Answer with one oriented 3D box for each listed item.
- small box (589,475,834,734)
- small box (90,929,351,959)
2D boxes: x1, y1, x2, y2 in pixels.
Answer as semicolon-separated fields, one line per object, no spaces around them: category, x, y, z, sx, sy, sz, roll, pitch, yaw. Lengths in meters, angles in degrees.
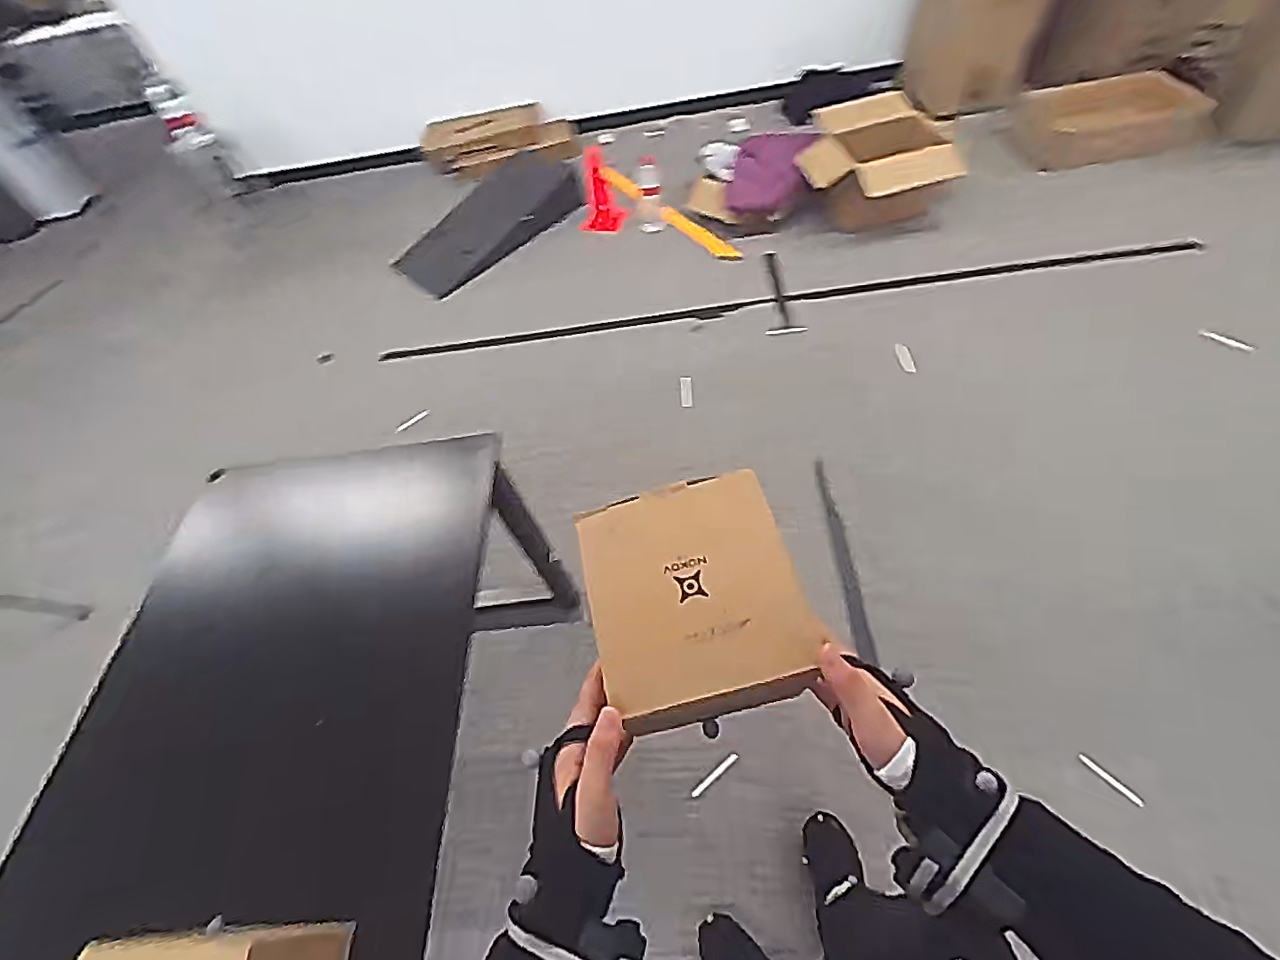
small box;0.057;0.124;0.508;0.168;0.176;0.179;-14;61;1
small box;-0.418;0.549;0.522;0.179;0.176;0.168;-7;54;6
